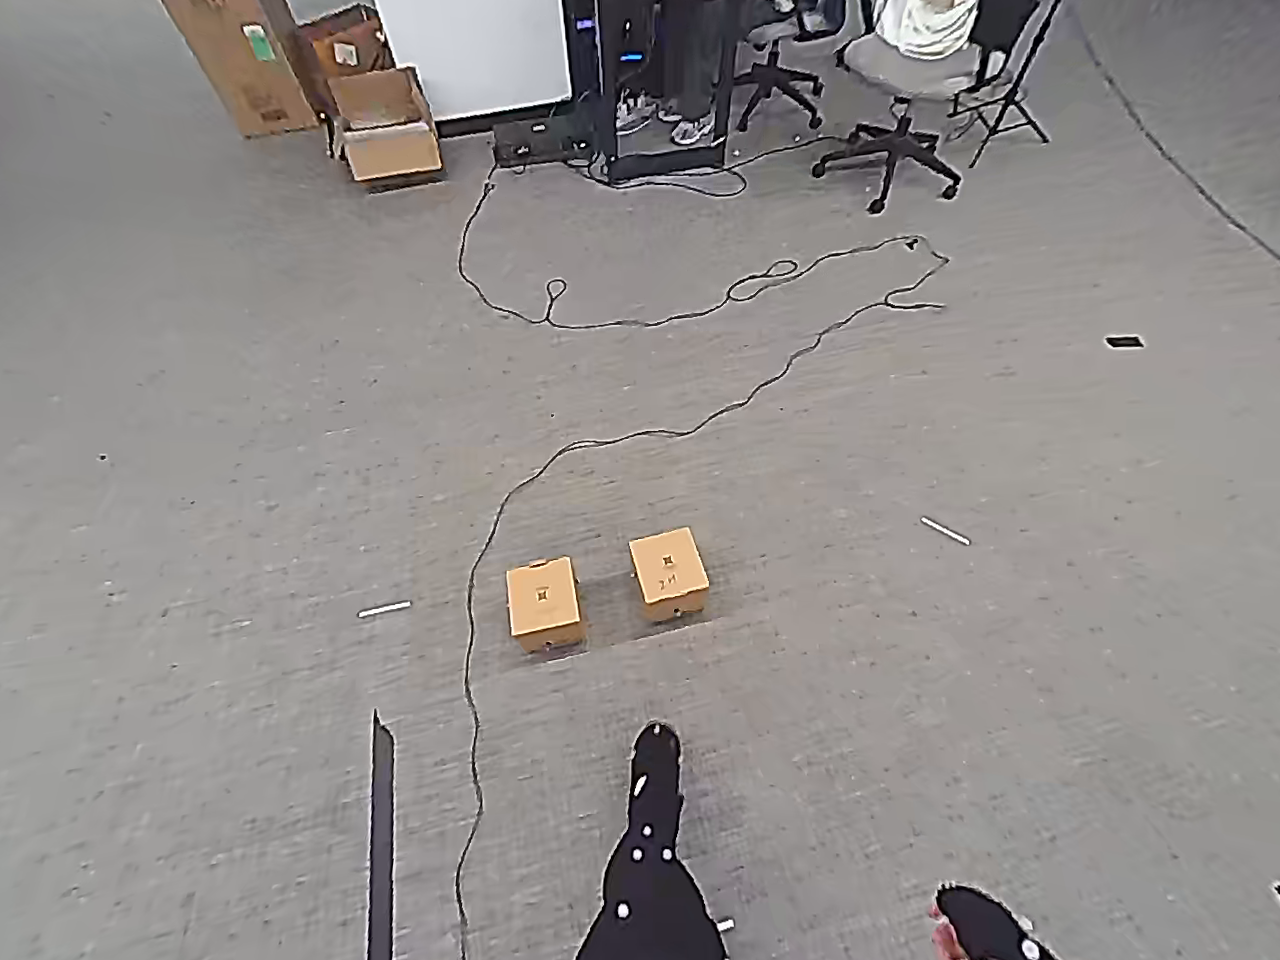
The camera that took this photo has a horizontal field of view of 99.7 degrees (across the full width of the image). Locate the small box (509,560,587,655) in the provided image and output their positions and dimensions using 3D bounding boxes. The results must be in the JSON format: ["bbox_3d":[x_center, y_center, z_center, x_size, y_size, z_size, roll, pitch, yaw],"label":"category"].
[{"bbox_3d":[-0.235,0.332,1.398,0.168,0.176,0.179,-11,59,-4],"label":"small box"}]

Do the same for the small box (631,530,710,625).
[{"bbox_3d":[0.075,0.260,1.432,0.168,0.176,0.179,-14,59,-7],"label":"small box"}]
